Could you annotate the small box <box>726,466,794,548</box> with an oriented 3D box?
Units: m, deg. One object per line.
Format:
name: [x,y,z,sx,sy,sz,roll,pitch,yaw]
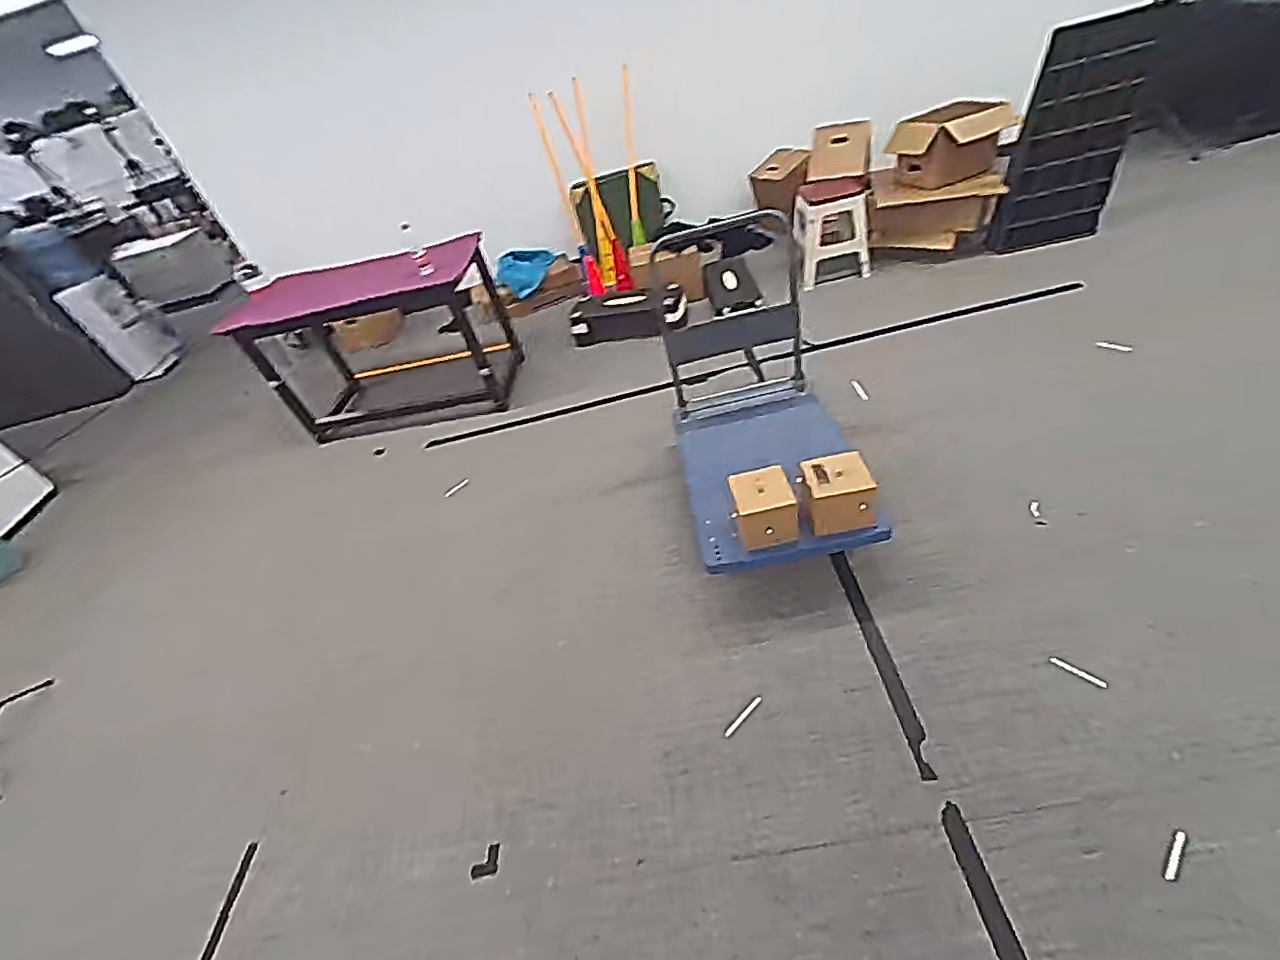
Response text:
small box: [0.371,0.090,1.666,0.168,0.176,0.179,-13,41,4]
